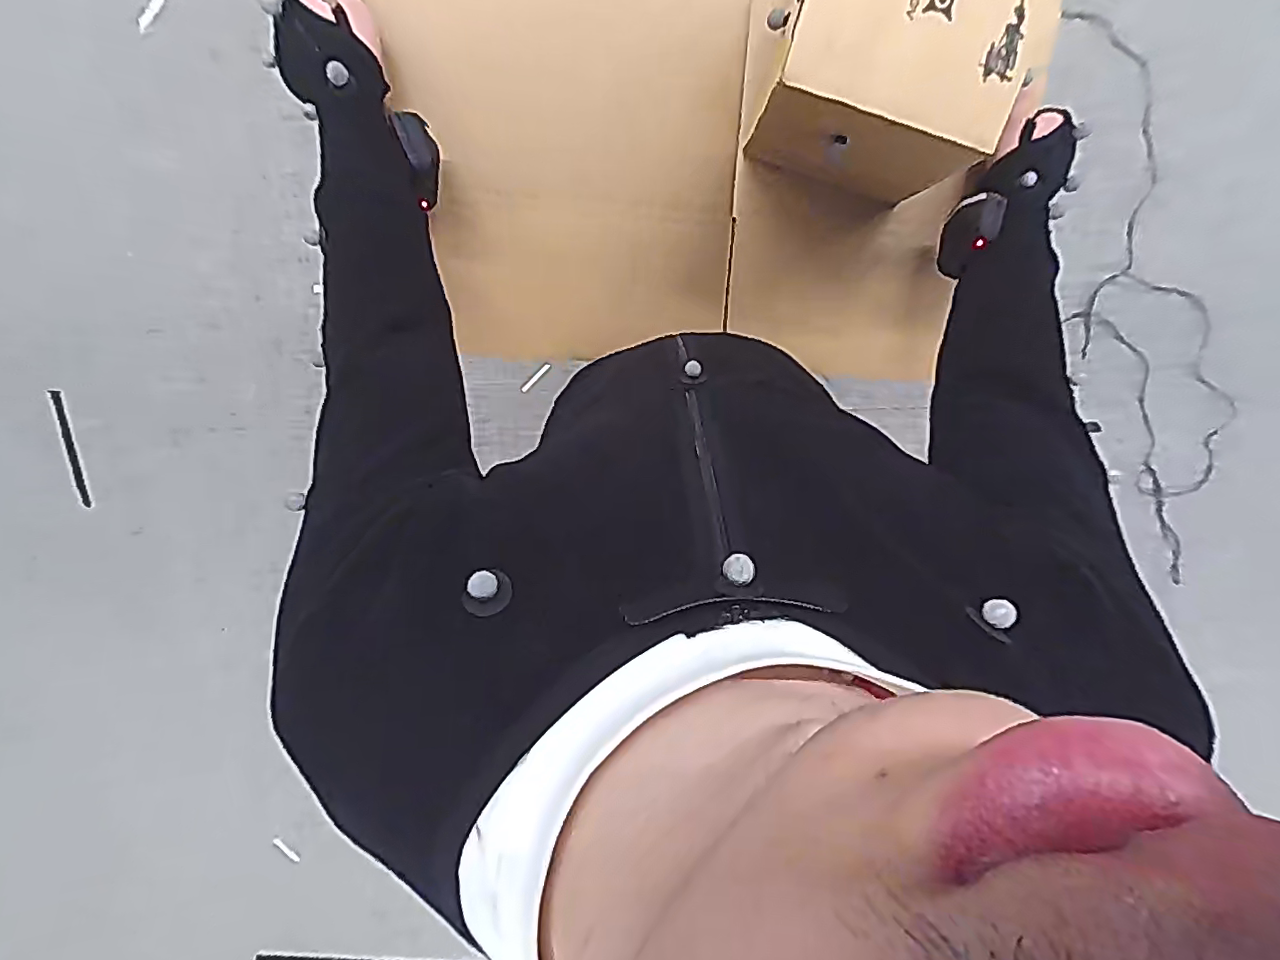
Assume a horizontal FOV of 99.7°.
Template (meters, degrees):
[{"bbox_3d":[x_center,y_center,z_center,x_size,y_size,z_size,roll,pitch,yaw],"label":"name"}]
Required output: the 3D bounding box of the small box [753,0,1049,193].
[{"bbox_3d":[0.212,-0.374,0.470,0.179,0.176,0.168,17,106,-2],"label":"small box"}]
